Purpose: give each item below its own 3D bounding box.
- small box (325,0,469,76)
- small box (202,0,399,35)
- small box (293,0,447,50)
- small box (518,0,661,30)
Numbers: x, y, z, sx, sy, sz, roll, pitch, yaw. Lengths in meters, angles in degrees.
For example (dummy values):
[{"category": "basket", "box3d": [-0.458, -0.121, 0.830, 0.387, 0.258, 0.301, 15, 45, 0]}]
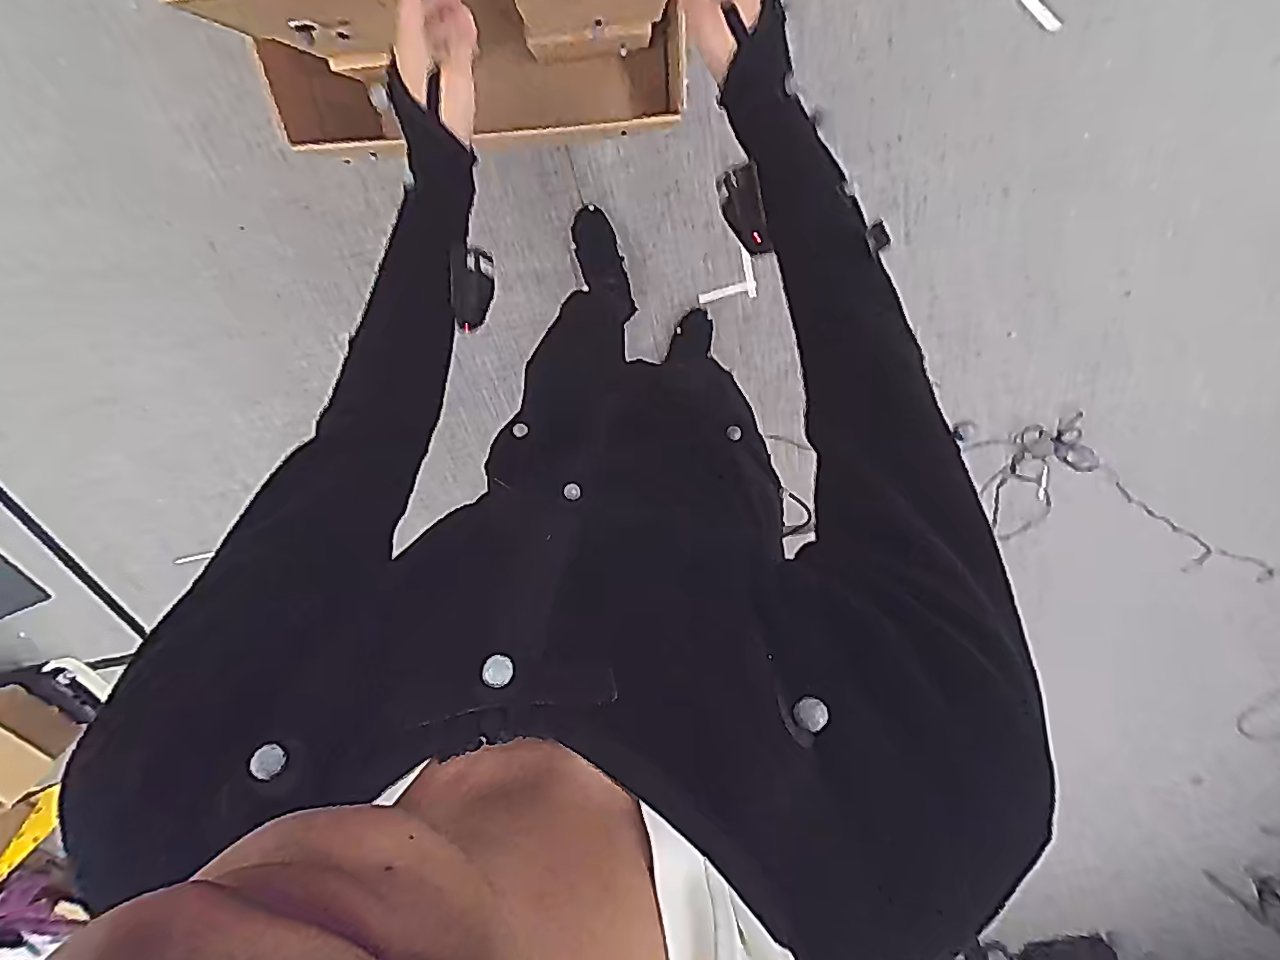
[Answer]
[{"category": "small box", "box3d": [-0.357, -0.693, 0.768, 0.168, 0.176, 0.179, -6, 120, 0]}, {"category": "small box", "box3d": [-0.345, -0.534, 0.481, 0.168, 0.176, 0.179, -6, 120, 2]}, {"category": "small box", "box3d": [-0.346, -0.618, 0.622, 0.179, 0.176, 0.168, -5, 120, -1]}, {"category": "small box", "box3d": [-0.062, -0.642, 0.616, 0.179, 0.176, 0.168, -7, 120, 1]}]
